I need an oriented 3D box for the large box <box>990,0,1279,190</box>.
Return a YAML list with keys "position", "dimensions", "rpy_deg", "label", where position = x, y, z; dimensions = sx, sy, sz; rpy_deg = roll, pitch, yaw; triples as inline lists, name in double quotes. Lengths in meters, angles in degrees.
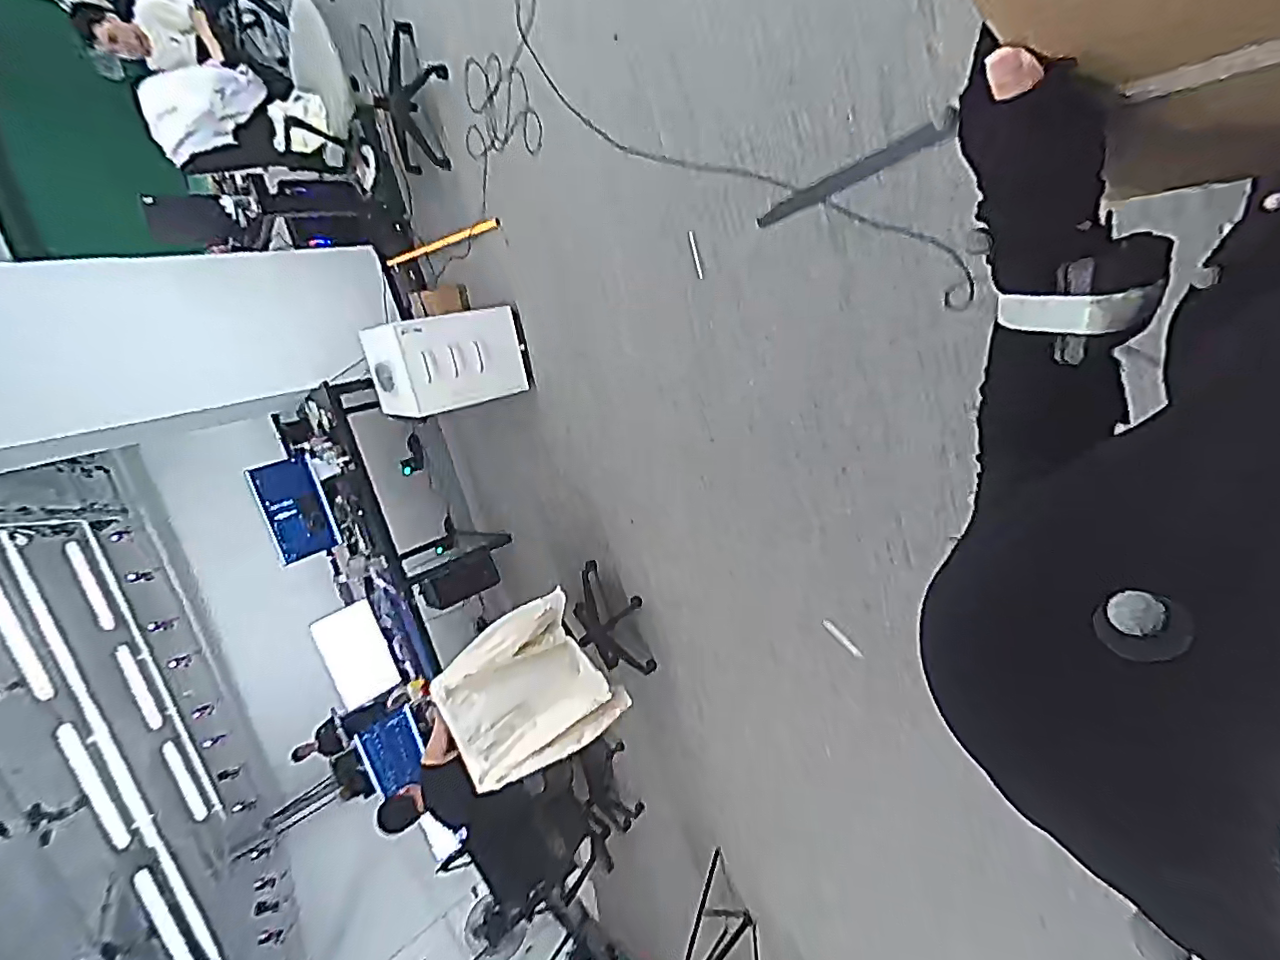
- position: [0.356, -0.321, 0.120]
  dimensions: [0.408, 0.320, 0.320]
  rpy_deg: [15, 102, 49]
  label: "large box"
